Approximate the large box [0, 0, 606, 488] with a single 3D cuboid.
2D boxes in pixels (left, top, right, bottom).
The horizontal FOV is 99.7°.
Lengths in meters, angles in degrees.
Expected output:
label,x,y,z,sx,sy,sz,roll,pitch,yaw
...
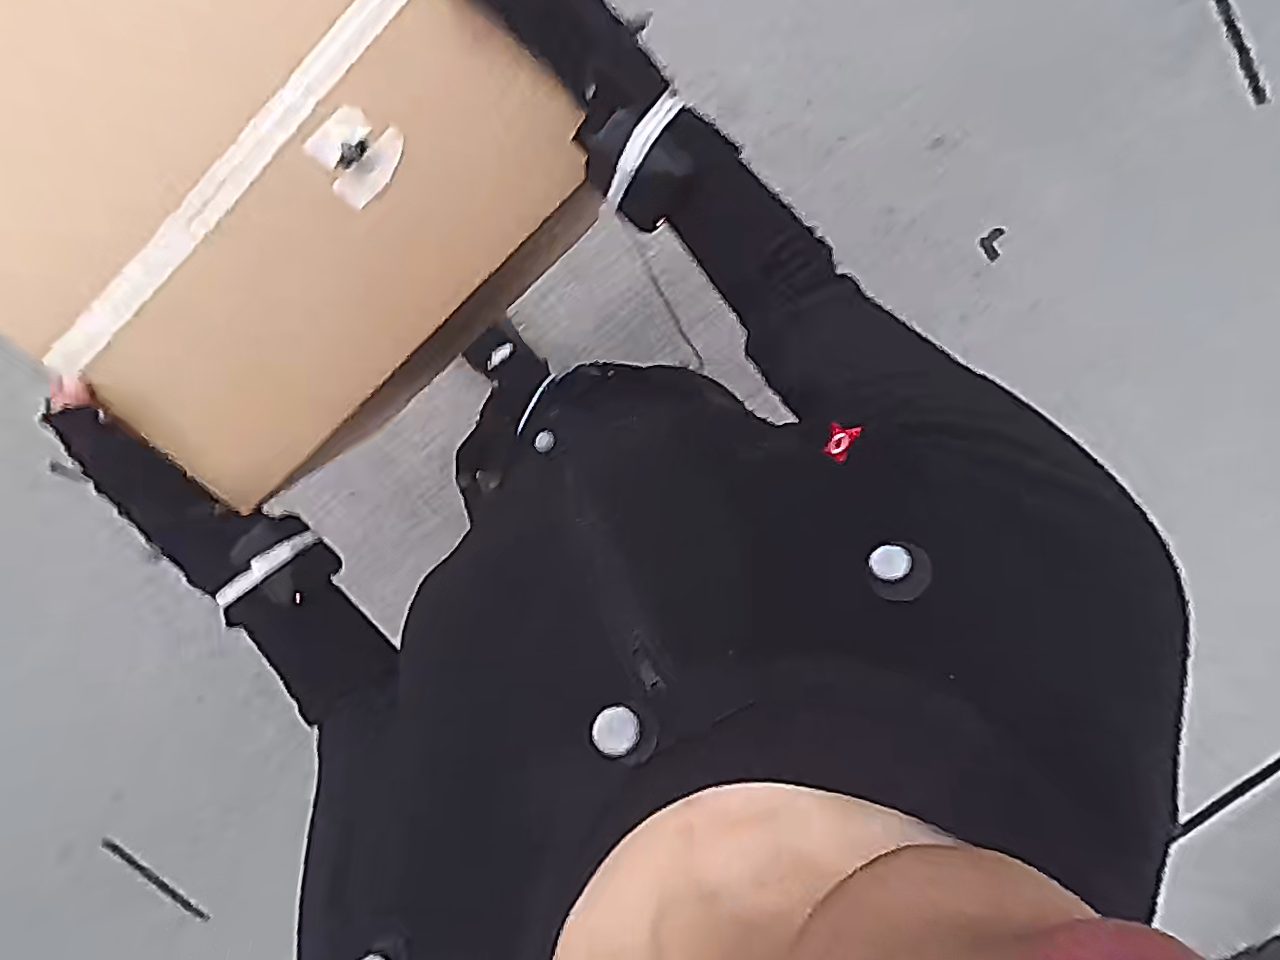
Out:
label,x,y,z,sx,sy,sz,roll,pitch,yaw
large box,-0.286,-0.268,0.516,0.408,0.320,0.320,-41,109,6
